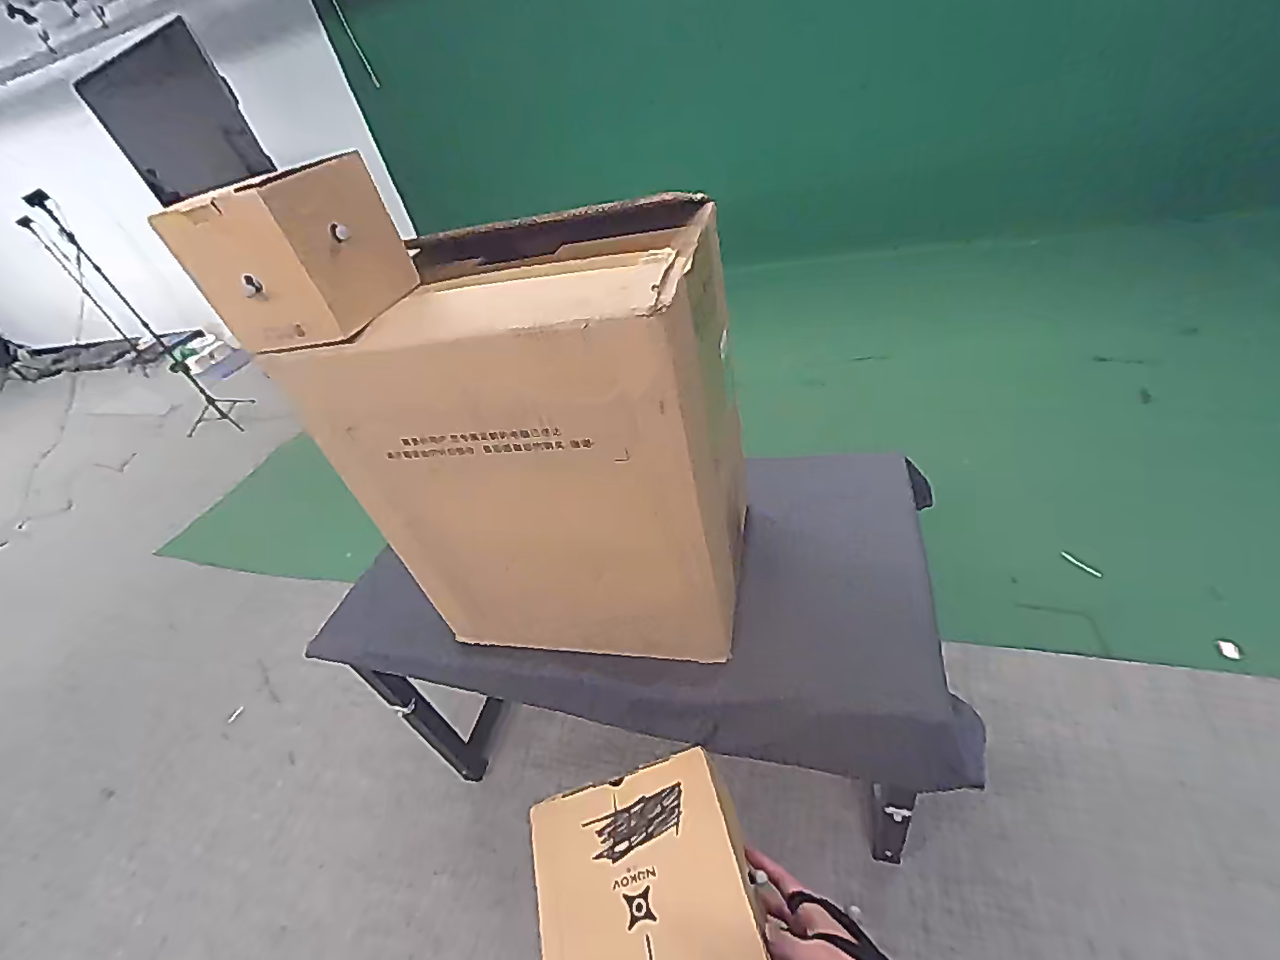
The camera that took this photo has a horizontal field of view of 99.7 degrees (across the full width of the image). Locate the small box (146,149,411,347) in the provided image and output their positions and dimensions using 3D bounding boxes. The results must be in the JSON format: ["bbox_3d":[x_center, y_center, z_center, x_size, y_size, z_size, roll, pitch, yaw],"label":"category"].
[{"bbox_3d":[-0.420,-0.276,0.666,0.168,0.176,0.179,-2,42,19],"label":"small box"}]
